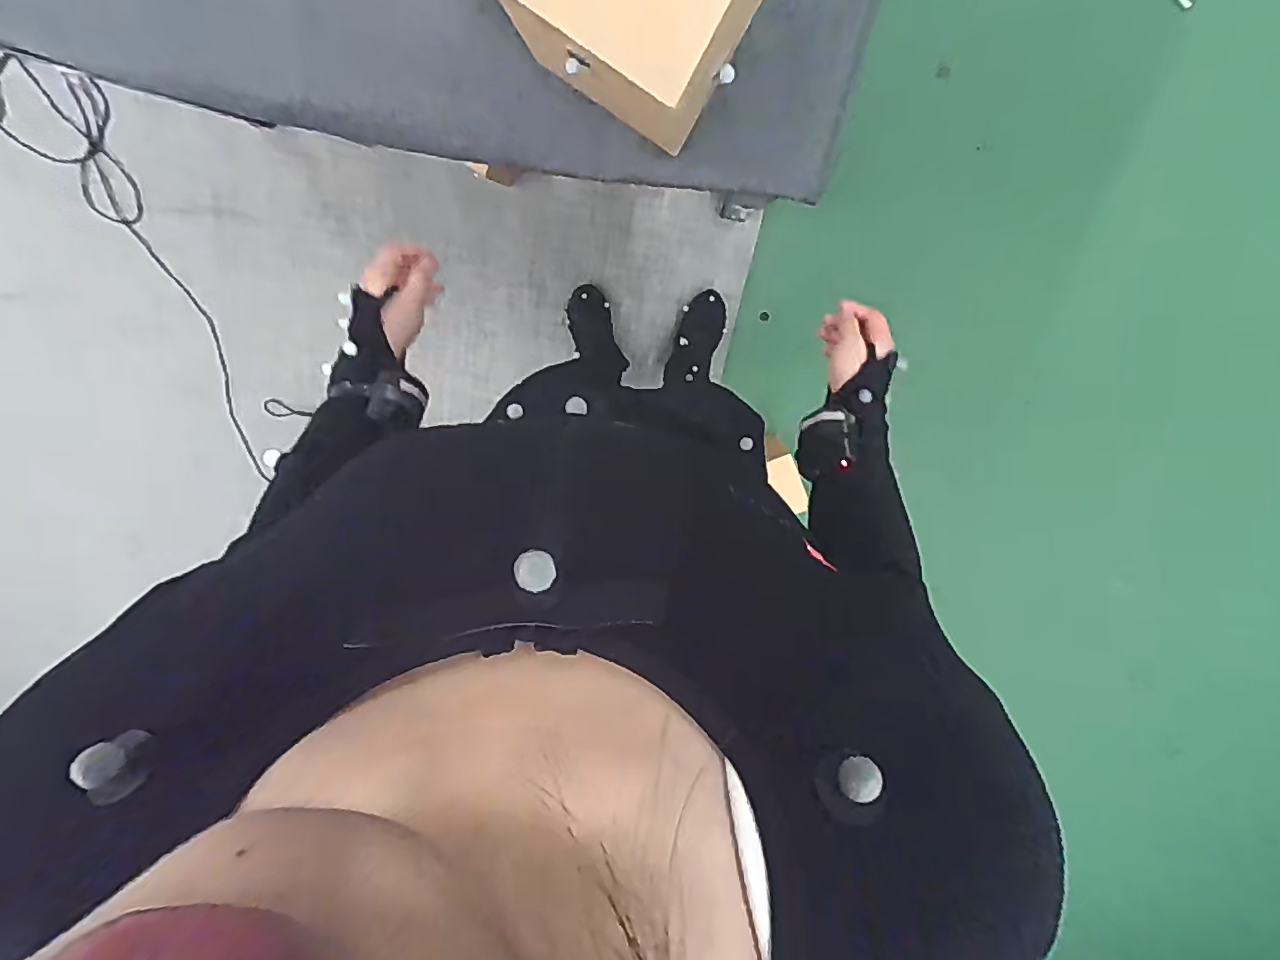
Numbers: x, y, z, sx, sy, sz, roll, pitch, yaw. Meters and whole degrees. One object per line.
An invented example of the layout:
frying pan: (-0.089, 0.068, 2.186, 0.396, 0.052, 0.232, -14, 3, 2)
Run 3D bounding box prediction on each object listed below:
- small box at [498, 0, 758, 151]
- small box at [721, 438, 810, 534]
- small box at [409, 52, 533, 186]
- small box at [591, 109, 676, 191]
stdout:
small box: (-0.003, -0.426, 0.475, 0.179, 0.176, 0.168, 31, 109, -7)
small box: (0.324, 0.009, 1.428, 0.179, 0.176, 0.168, -22, 109, 14)
small box: (-0.352, -0.759, 1.162, 0.179, 0.176, 0.168, 30, 111, -7)
small box: (-0.005, -0.723, 1.147, 0.168, 0.176, 0.179, 6, 113, 1)
